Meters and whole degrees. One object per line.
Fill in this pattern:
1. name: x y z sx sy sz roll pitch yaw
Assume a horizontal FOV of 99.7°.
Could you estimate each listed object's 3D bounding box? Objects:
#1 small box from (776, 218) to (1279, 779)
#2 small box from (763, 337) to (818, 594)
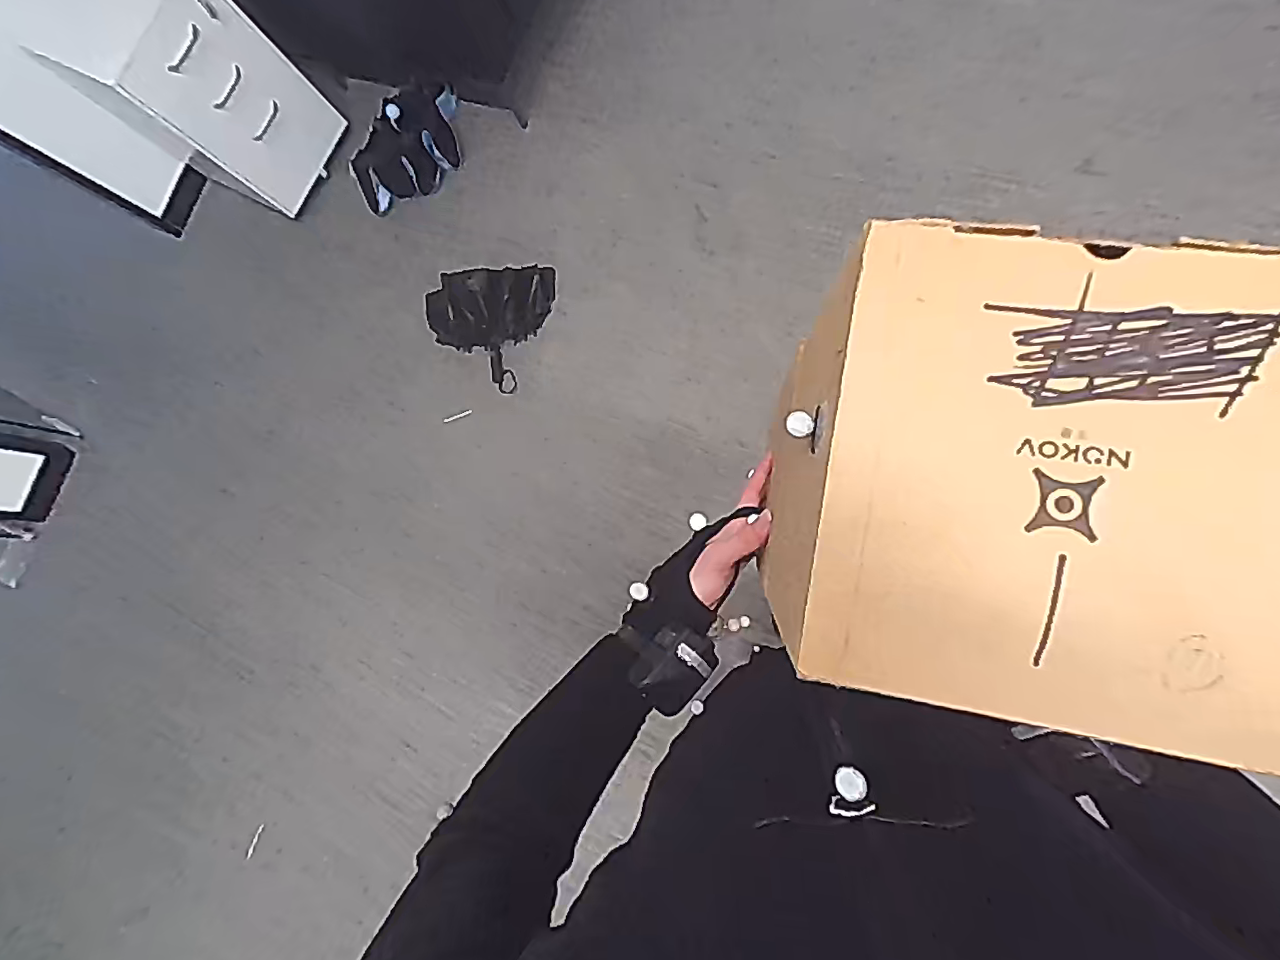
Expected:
1. small box: 0.164 0.002 0.265 0.168 0.176 0.179 9 91 10
2. small box: 0.191 0.002 0.427 0.168 0.176 0.179 7 88 10
